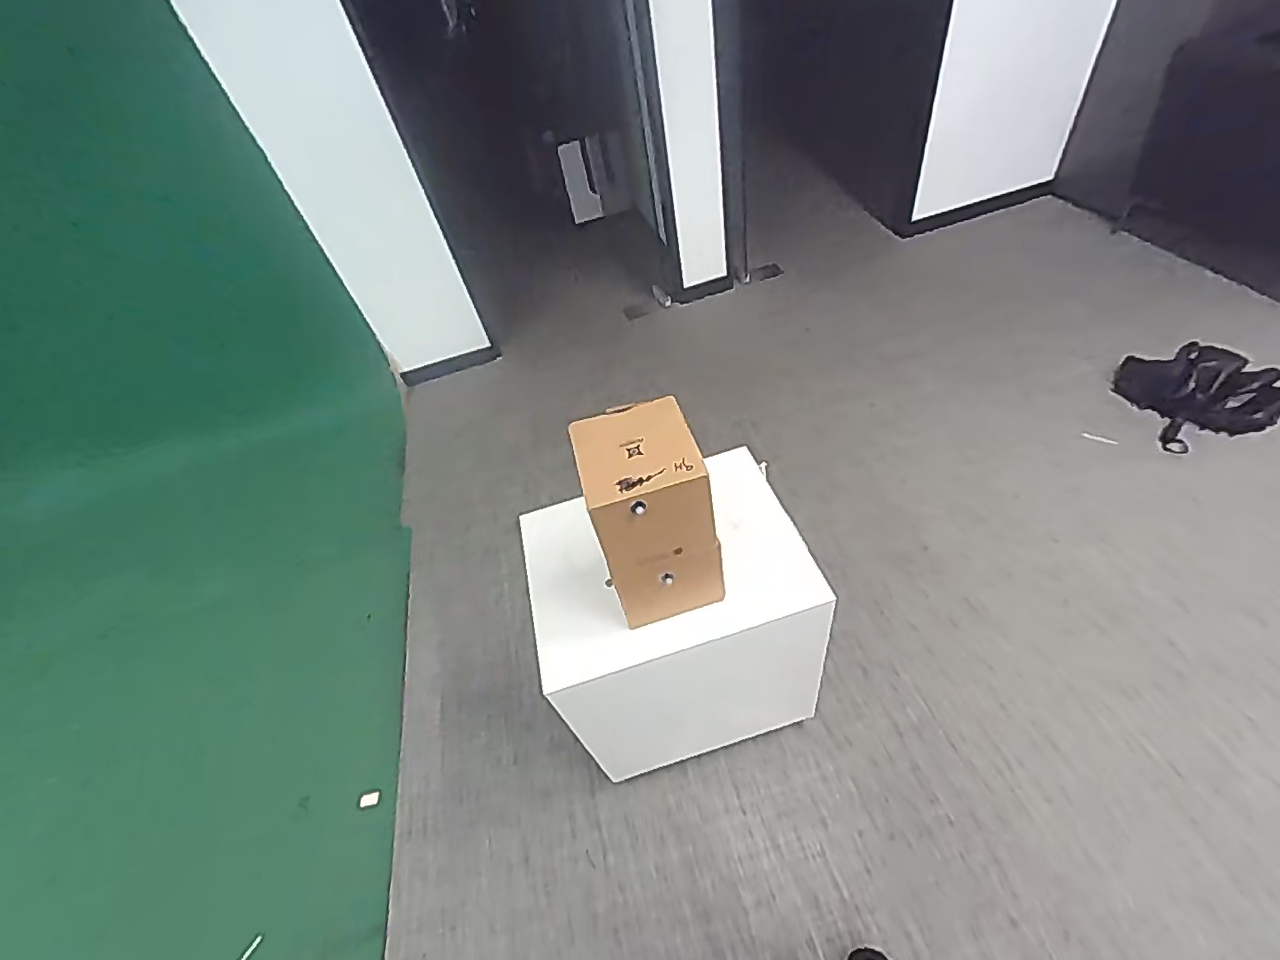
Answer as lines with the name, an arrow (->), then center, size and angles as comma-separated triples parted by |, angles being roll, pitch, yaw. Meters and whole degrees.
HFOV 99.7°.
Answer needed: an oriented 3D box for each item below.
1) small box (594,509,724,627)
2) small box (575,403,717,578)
small box -> 0.036, 0.128, 0.932 | 0.179, 0.176, 0.168 | -17, 47, -4
small box -> 0.010, 0.017, 0.818 | 0.168, 0.176, 0.179 | -17, 47, -5
